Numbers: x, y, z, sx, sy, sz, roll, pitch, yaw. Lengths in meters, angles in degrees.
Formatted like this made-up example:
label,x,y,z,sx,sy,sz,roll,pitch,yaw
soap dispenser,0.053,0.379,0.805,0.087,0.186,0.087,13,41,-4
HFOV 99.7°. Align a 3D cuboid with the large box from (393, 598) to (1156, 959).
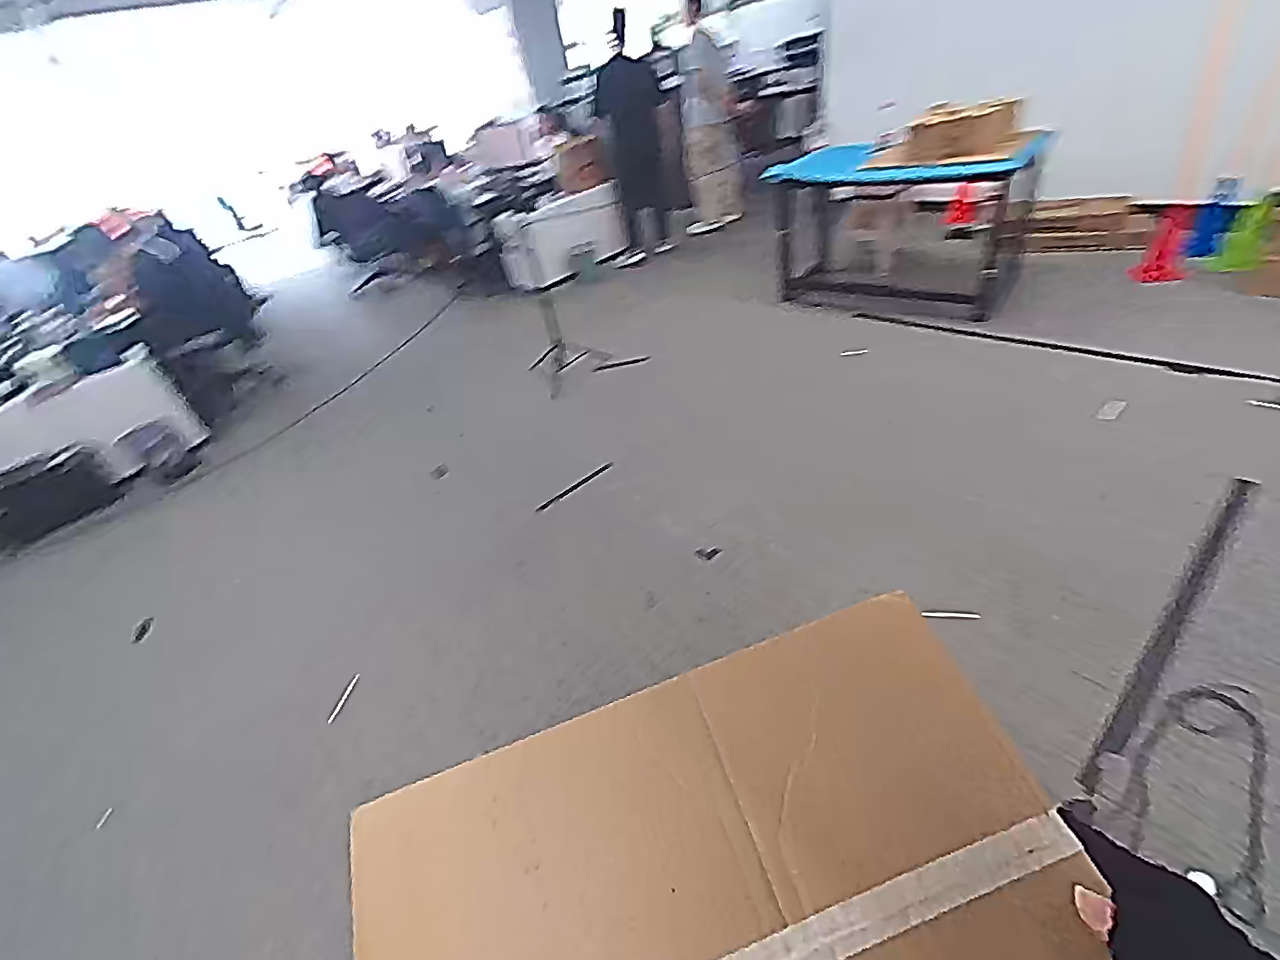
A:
label,x,y,z,sx,sy,sz,roll,pitch,yaw
large box,0.083,0.351,0.421,0.408,0.320,0.320,-20,57,-3
